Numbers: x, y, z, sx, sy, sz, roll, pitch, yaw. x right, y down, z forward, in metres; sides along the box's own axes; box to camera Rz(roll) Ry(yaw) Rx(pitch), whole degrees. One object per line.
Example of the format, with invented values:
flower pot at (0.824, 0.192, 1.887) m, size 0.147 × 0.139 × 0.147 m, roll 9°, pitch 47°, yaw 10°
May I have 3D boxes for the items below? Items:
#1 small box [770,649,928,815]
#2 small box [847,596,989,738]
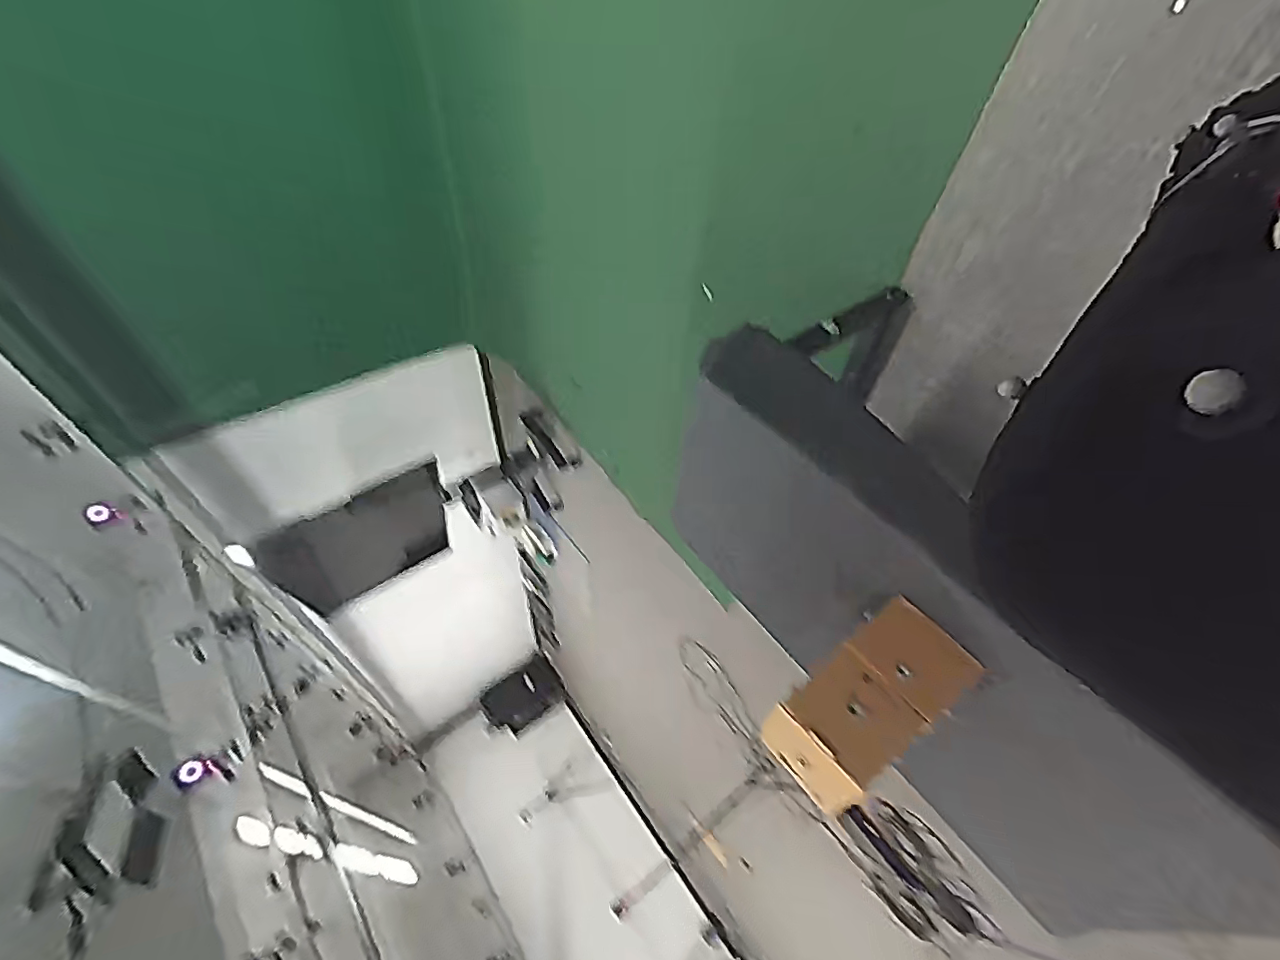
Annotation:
small box at (0.354, 0.422, 0.922) m, size 0.168 × 0.176 × 0.179 m, roll 44°, pitch 149°, yaw 31°
small box at (0.485, 0.348, 0.987) m, size 0.179 × 0.176 × 0.168 m, roll 47°, pitch 150°, yaw 30°
